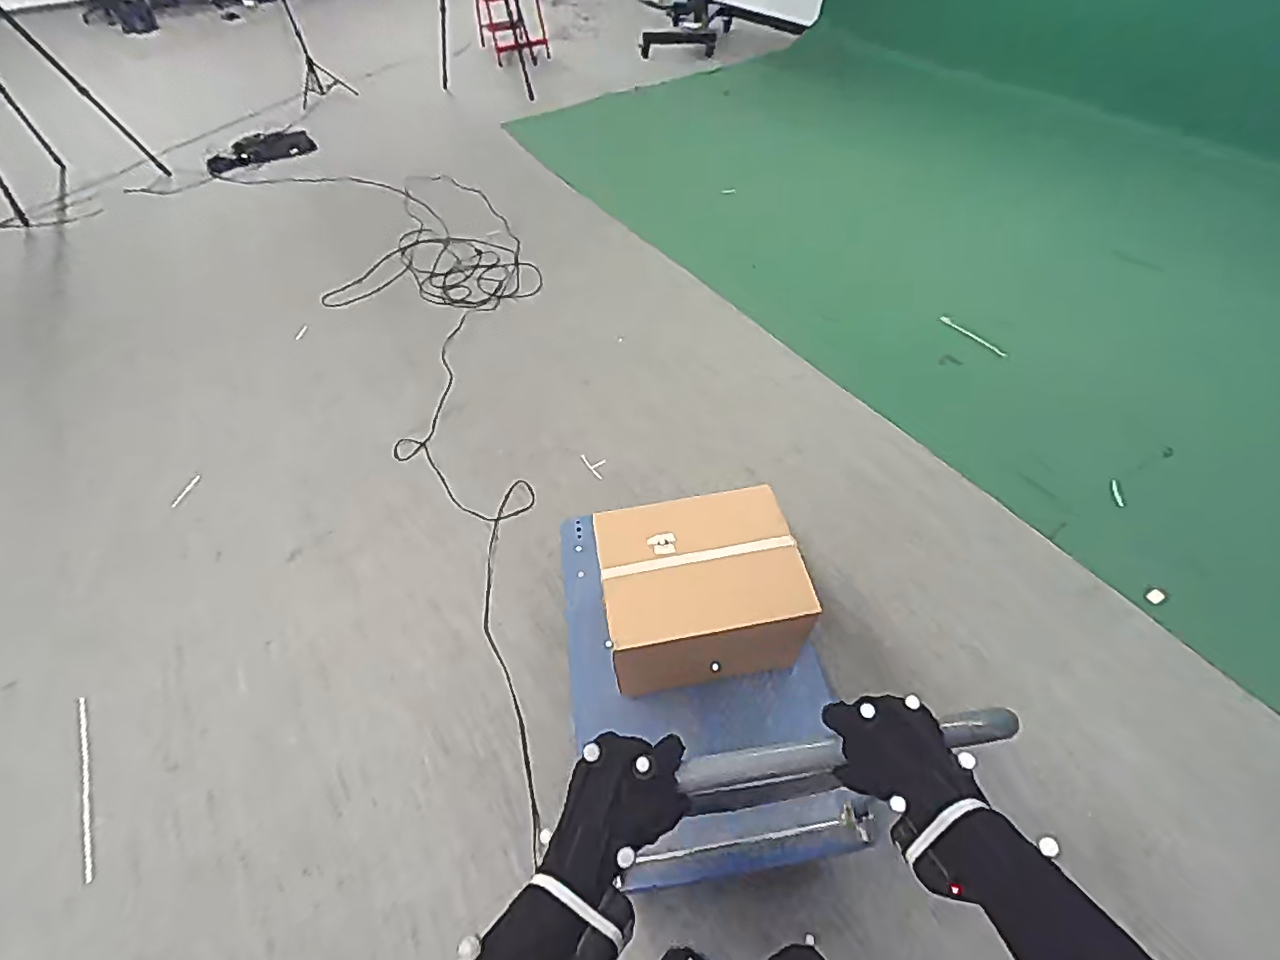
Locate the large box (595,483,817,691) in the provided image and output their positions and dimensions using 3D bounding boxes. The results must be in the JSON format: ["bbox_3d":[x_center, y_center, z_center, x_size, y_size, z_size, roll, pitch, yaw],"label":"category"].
[{"bbox_3d":[0.131,0.249,1.231,0.408,0.320,0.320,-10,53,-4],"label":"large box"}]
